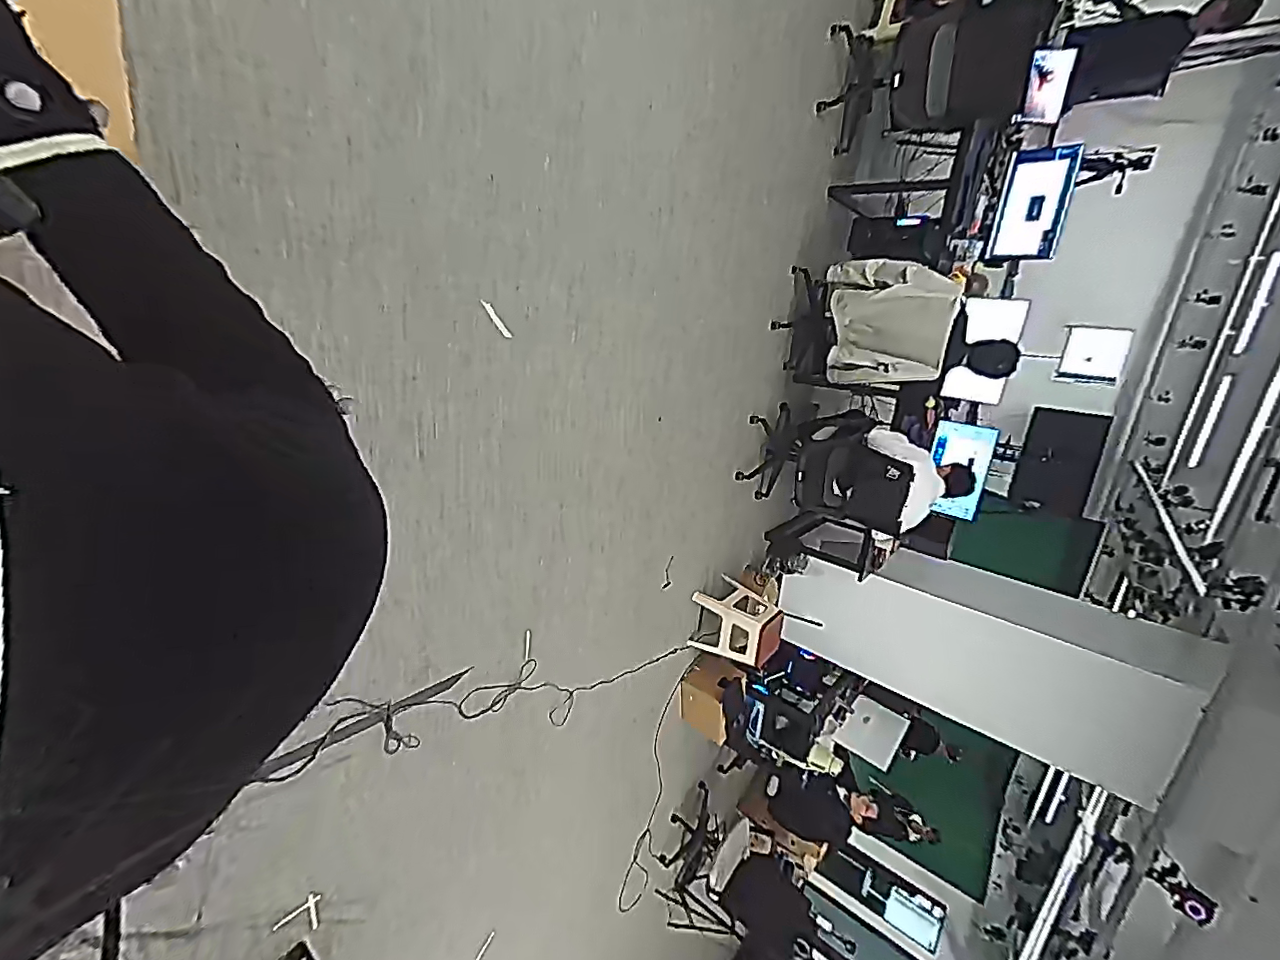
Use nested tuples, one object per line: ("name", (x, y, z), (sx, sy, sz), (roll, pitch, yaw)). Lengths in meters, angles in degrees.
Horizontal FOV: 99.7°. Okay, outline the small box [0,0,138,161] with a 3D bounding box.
("small box", (-0.666, -0.455, 0.564), (0.168, 0.176, 0.179), (-15, 118, -51))
